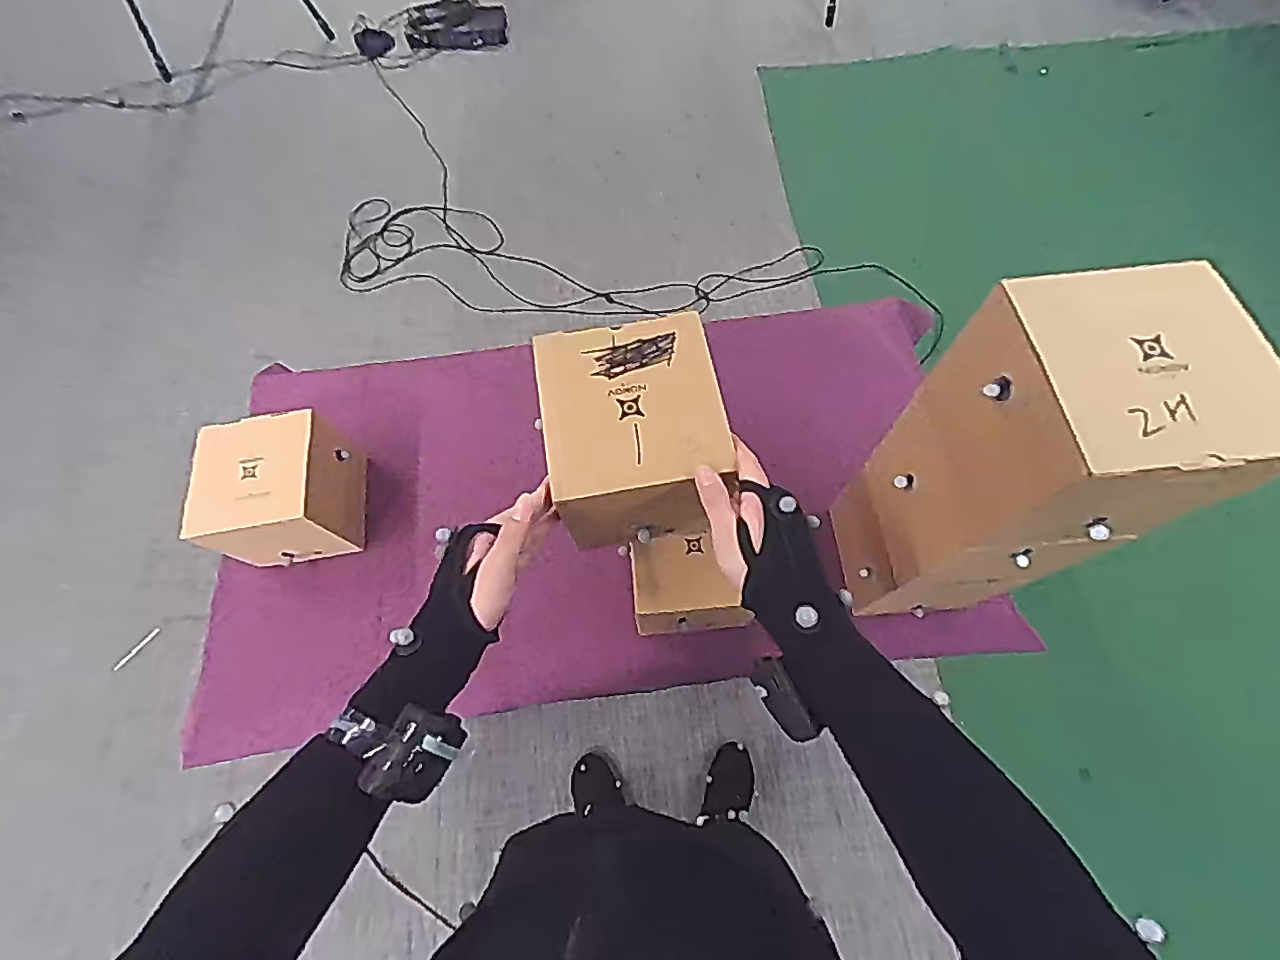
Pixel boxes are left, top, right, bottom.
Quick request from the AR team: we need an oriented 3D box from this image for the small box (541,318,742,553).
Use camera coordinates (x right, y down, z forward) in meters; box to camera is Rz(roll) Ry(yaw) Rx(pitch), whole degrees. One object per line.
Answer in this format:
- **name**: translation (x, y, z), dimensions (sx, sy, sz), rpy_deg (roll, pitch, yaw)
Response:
- **small box**: translation (-0.002, -0.038, 0.568), dimensions (0.168, 0.176, 0.179), rpy_deg (-9, 68, -1)

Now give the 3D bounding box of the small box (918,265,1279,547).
- **small box**: translation (0.372, -0.054, 0.468), dimensions (0.168, 0.176, 0.179), rpy_deg (-5, 66, 1)

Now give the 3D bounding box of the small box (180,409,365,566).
- **small box**: translation (-0.544, 0.017, 0.830), dimensions (0.168, 0.176, 0.179), rpy_deg (-9, 67, -2)

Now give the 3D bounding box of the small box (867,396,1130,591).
- **small box**: translation (0.380, 0.017, 0.617), dimensions (0.168, 0.176, 0.179), rpy_deg (-4, 65, 2)

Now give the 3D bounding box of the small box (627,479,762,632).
- **small box**: translation (0.068, 0.114, 0.768), dimensions (0.168, 0.176, 0.179), rpy_deg (-5, 64, 0)
